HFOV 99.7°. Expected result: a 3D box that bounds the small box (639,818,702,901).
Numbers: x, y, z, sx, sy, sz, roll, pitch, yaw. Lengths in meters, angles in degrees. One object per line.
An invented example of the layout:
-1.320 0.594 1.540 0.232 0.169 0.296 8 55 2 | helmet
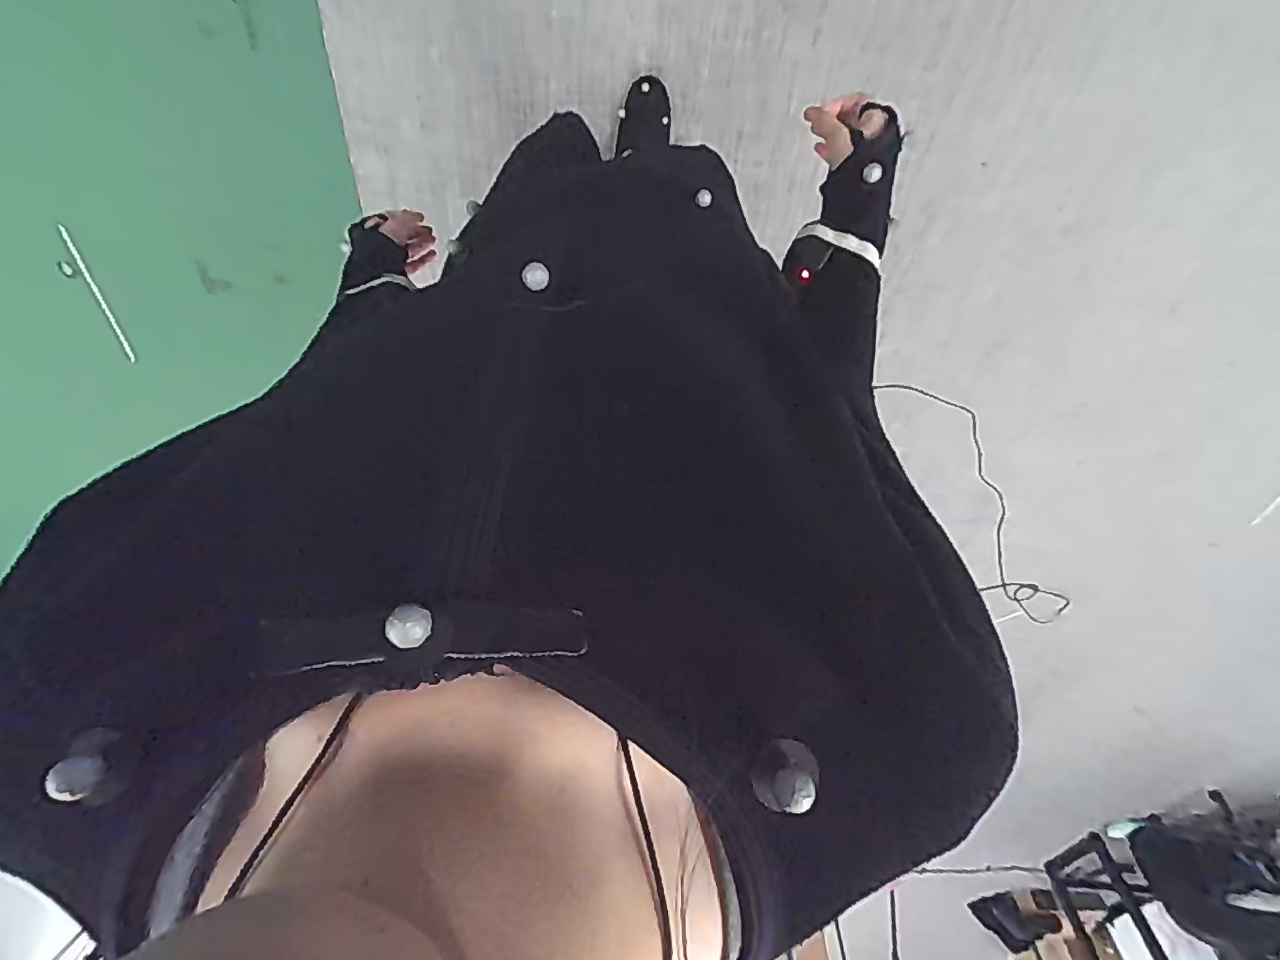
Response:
0.088 1.170 1.668 0.168 0.176 0.179 7 129 -3 | small box

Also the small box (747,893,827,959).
0.419 1.309 1.552 0.179 0.176 0.168 6 129 -2 | small box

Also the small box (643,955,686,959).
0.078 1.373 1.409 0.168 0.176 0.179 6 128 -3 | small box
